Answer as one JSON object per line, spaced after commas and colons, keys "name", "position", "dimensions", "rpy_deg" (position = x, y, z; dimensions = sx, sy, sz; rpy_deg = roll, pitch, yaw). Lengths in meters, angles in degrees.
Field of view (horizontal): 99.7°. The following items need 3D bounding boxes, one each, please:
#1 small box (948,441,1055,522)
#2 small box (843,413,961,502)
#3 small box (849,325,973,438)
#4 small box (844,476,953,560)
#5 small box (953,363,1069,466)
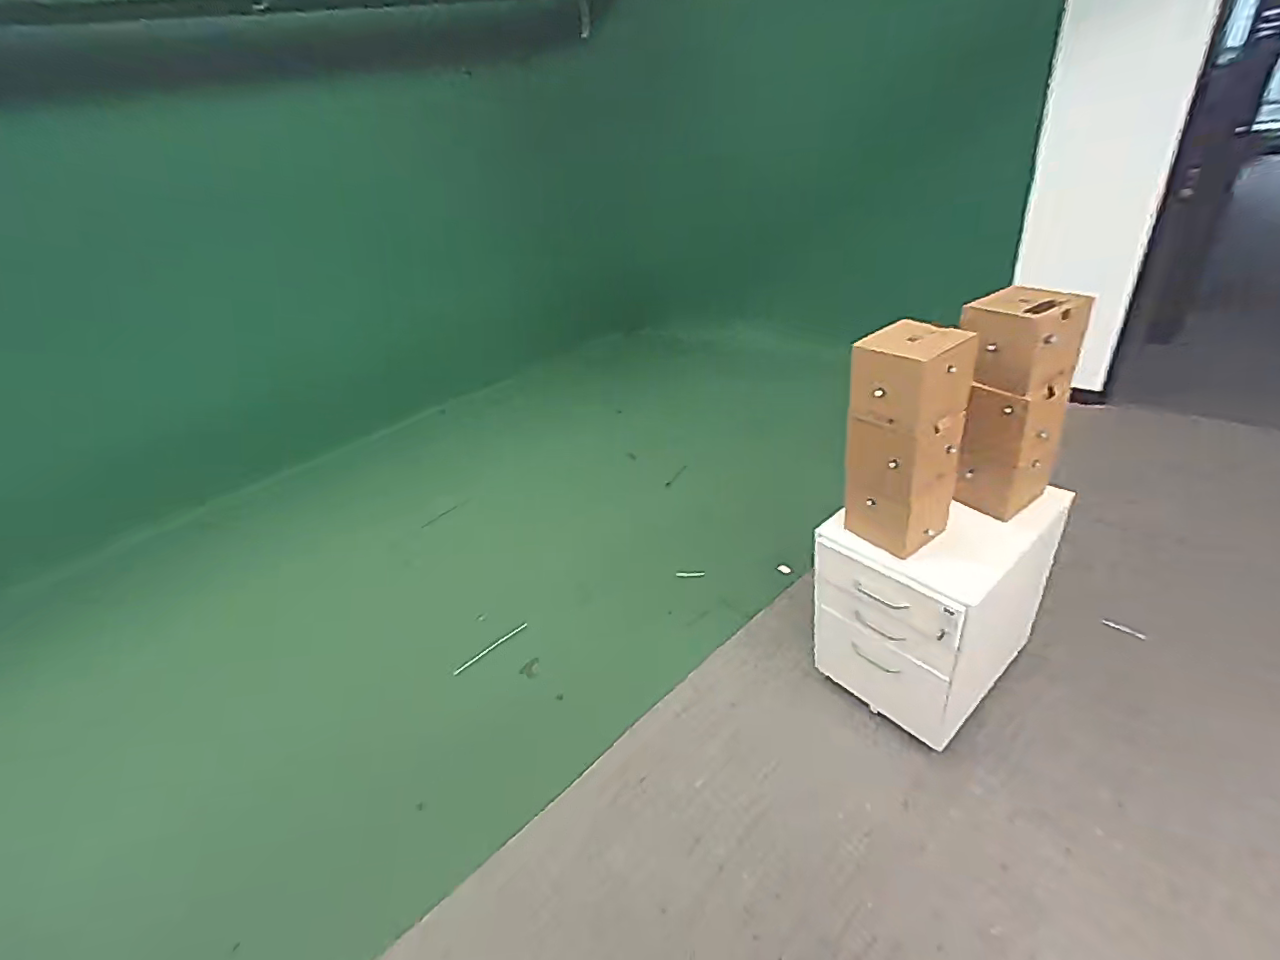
{"name": "small box", "position": [0.884, -0.021, 1.355], "dimensions": [0.168, 0.176, 0.179], "rpy_deg": [-26, 35, -21]}
{"name": "small box", "position": [0.586, -0.070, 1.225], "dimensions": [0.168, 0.176, 0.179], "rpy_deg": [-26, 34, -23]}
{"name": "small box", "position": [0.562, -0.209, 1.139], "dimensions": [0.179, 0.176, 0.168], "rpy_deg": [-26, 36, -24]}
{"name": "small box", "position": [0.617, 0.063, 1.311], "dimensions": [0.168, 0.176, 0.179], "rpy_deg": [-26, 36, -22]}
{"name": "small box", "position": [0.850, -0.155, 1.271], "dimensions": [0.168, 0.176, 0.179], "rpy_deg": [-27, 36, -21]}
